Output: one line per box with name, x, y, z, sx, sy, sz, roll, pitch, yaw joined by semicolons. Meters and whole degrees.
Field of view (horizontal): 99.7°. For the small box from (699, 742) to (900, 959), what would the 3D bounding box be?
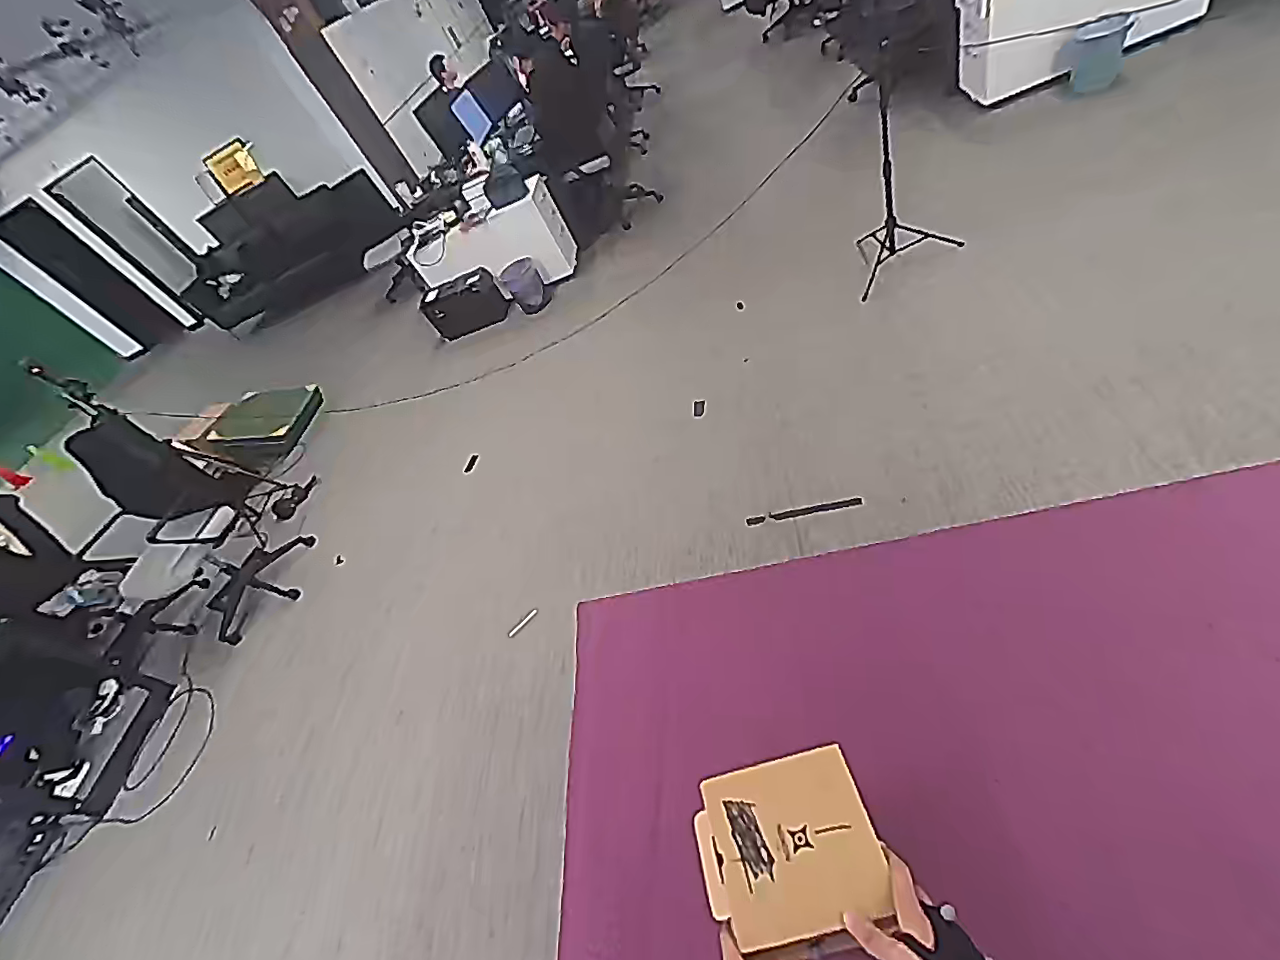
small box;0.187;0.447;0.648;0.179;0.176;0.168;-18;43;4
